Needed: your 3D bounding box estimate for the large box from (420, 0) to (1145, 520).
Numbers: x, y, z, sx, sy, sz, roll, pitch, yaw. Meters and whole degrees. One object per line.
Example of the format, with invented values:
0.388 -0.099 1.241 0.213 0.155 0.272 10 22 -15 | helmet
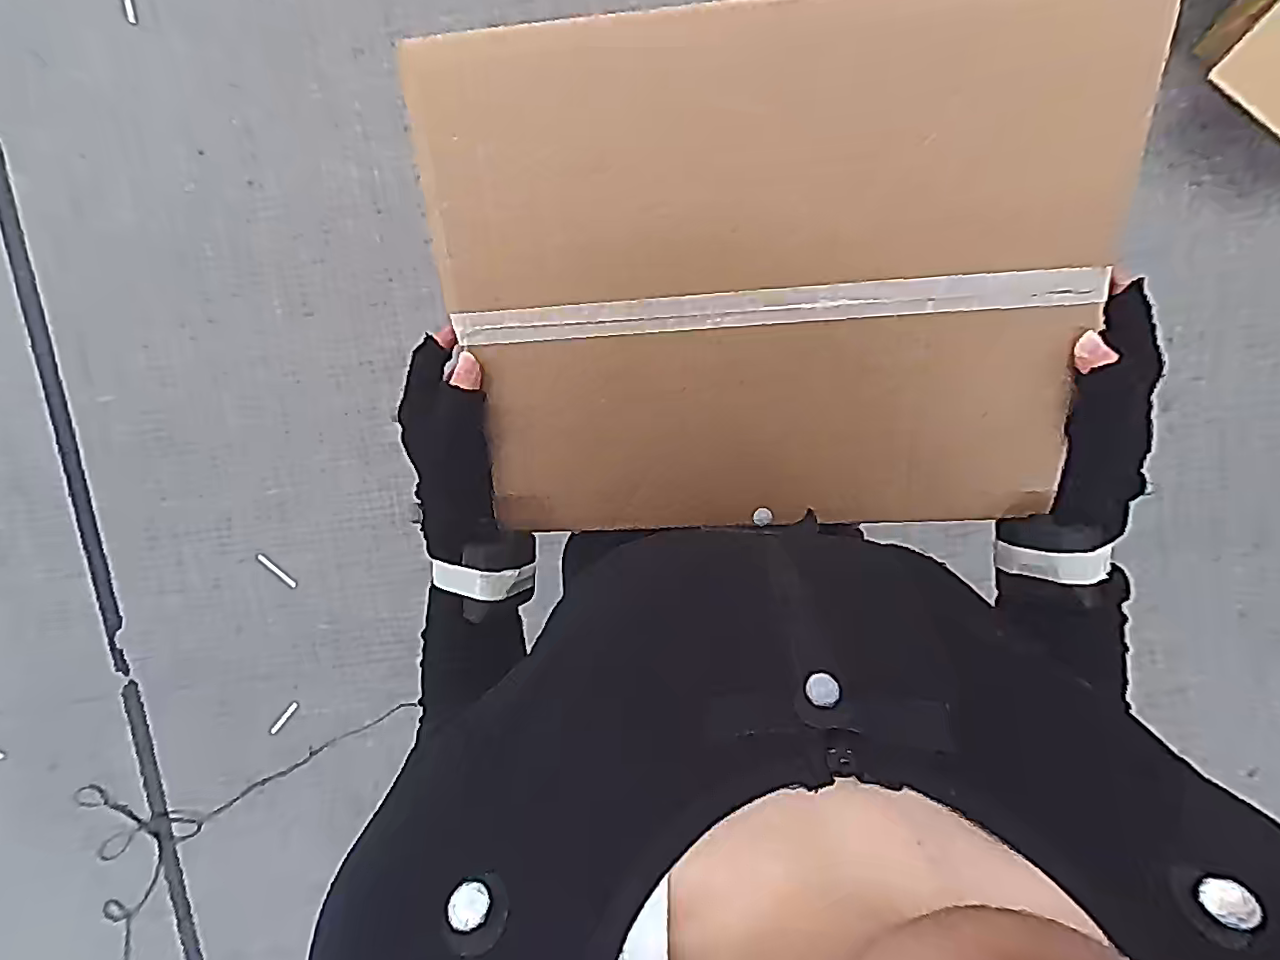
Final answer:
0.086 -0.177 0.492 0.408 0.320 0.320 -2 115 5 | large box
